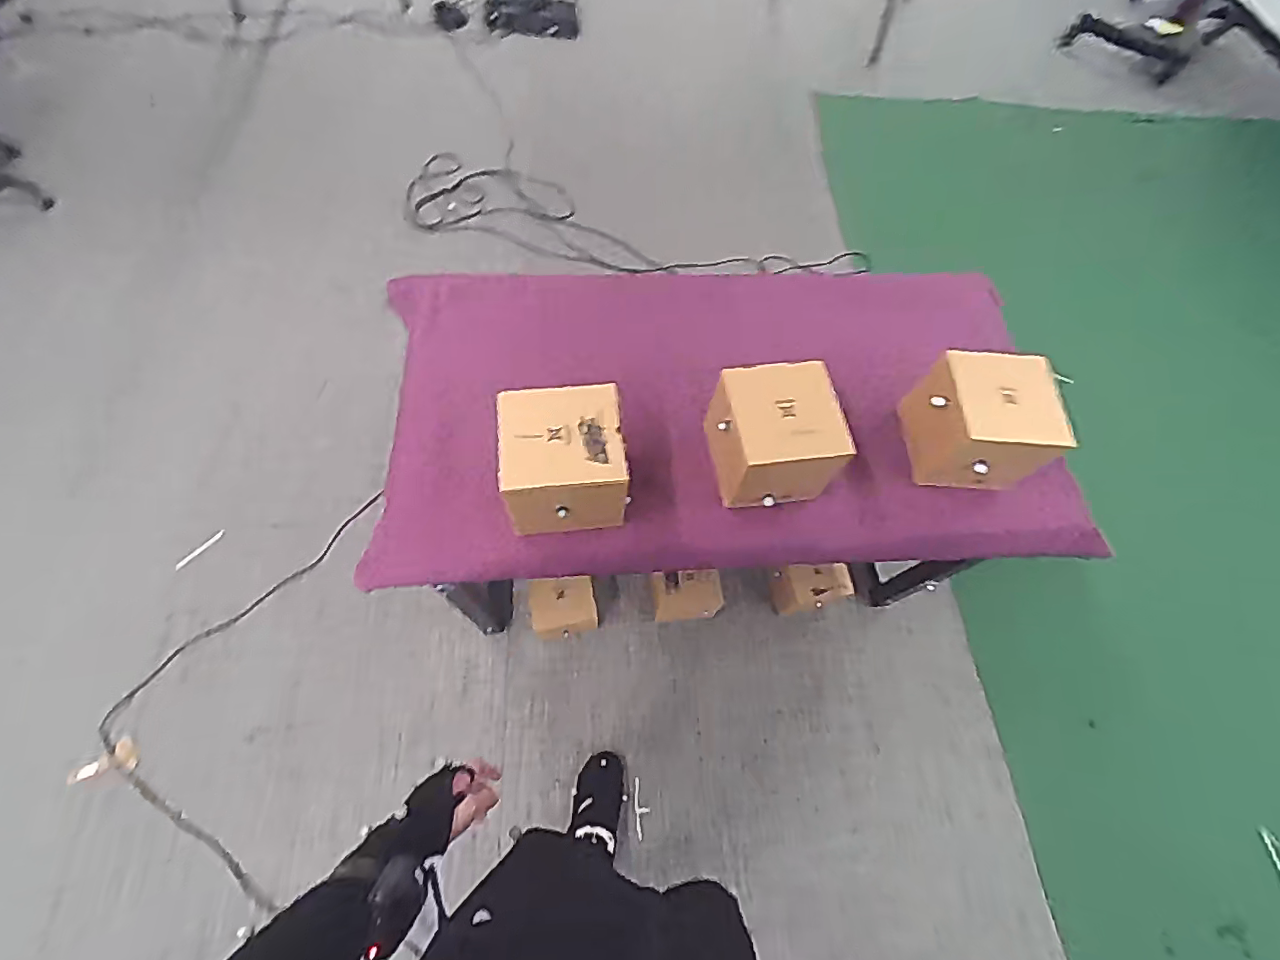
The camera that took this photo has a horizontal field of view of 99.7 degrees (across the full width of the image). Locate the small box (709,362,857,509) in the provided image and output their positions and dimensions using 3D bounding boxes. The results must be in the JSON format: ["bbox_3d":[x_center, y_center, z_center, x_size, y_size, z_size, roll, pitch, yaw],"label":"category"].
[{"bbox_3d":[0.218,-0.069,0.881,0.168,0.176,0.179,-5,64,-7],"label":"small box"}]

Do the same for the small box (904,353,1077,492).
[{"bbox_3d":[0.581,-0.091,0.924,0.168,0.176,0.179,4,62,-2],"label":"small box"}]

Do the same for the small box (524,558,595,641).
[{"bbox_3d":[-0.213,0.328,1.458,0.168,0.176,0.179,-9,65,-9],"label":"small box"}]

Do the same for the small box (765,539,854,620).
[{"bbox_3d":[0.472,0.285,1.540,0.168,0.176,0.179,-7,64,-9],"label":"small box"}]

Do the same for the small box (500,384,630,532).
[{"bbox_3d":[-0.114,-0.029,0.829,0.179,0.176,0.168,-5,63,-7],"label":"small box"}]
